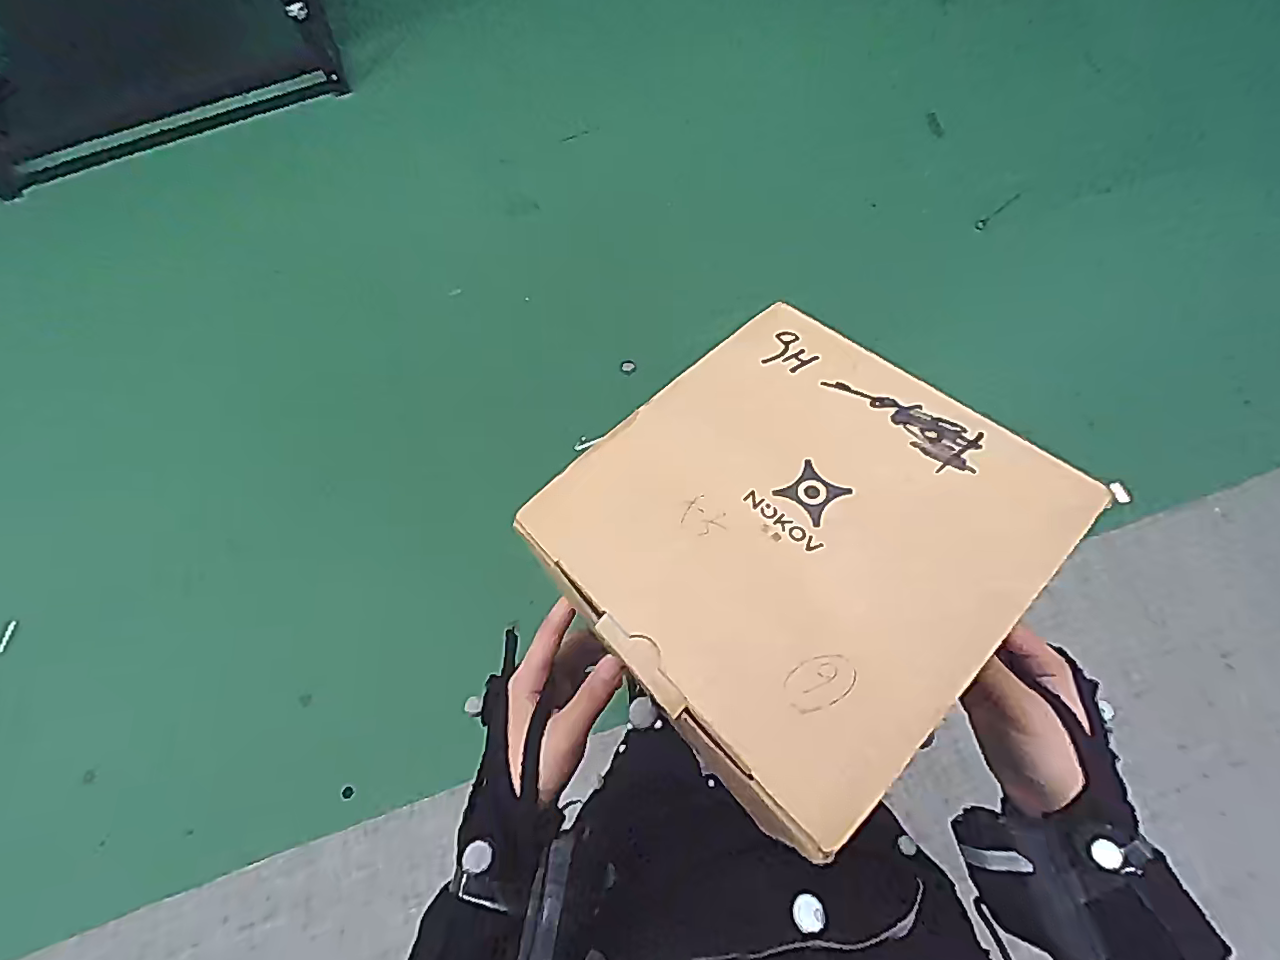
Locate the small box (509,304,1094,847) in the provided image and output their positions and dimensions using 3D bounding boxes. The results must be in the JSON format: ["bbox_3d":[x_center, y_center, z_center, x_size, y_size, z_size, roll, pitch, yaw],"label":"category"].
[{"bbox_3d":[0.068,0.051,0.287,0.179,0.176,0.168,-40,62,-15],"label":"small box"}]
